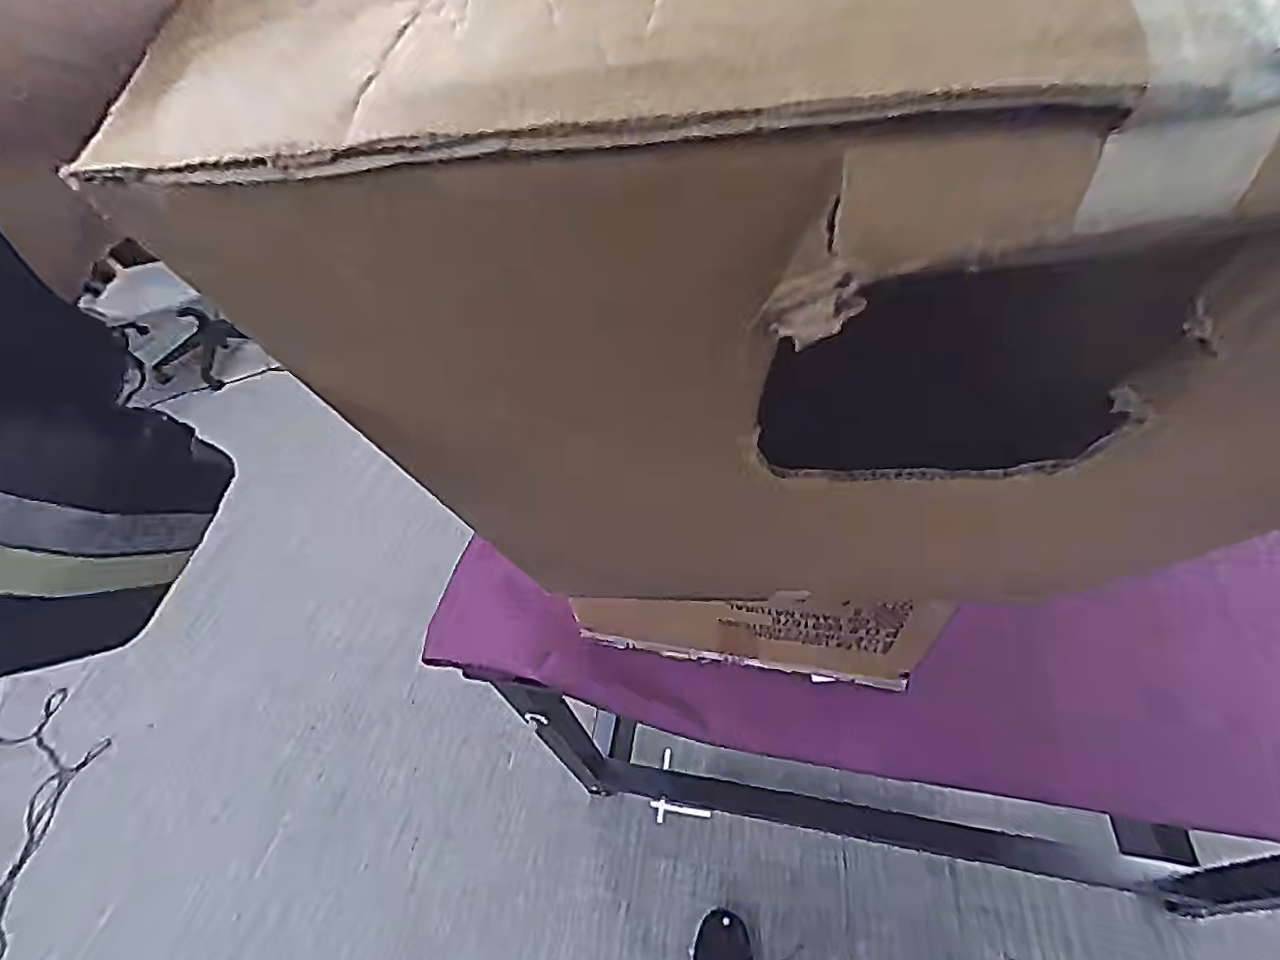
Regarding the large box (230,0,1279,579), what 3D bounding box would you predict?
[{"bbox_3d":[0.090,-0.175,0.294,0.320,0.320,0.408,-1,67,5],"label":"large box"}]
